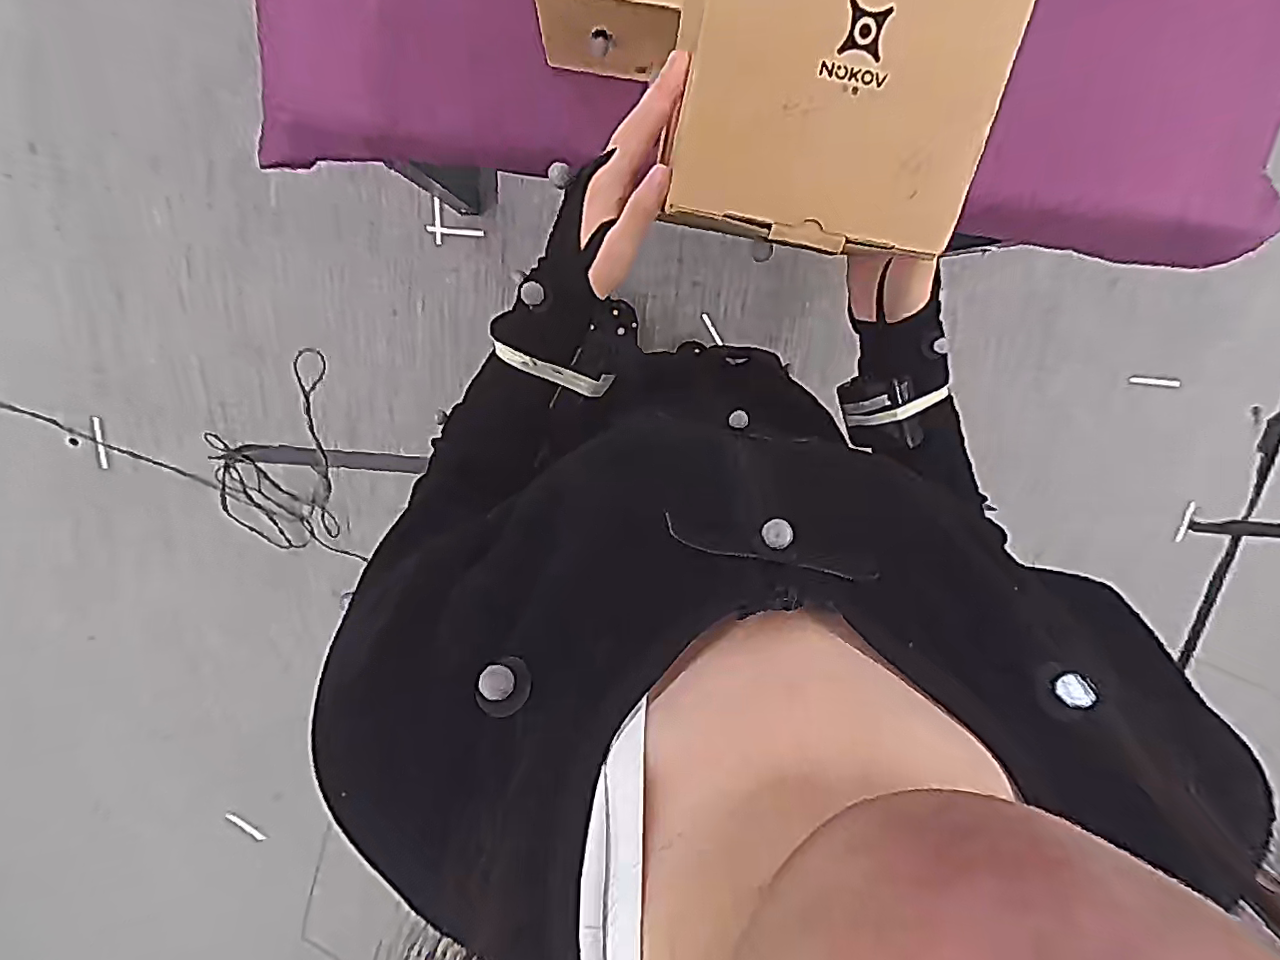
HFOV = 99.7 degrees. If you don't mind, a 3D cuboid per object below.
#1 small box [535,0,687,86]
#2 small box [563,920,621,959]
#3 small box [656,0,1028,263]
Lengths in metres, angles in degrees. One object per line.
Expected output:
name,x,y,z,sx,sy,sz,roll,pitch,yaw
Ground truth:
small box,-0.007,-0.520,0.526,0.168,0.176,0.179,5,106,-6
small box,-0.141,1.430,1.574,0.168,0.176,0.179,1,106,-5
small box,0.107,-0.255,0.357,0.168,0.176,0.179,8,114,-7
